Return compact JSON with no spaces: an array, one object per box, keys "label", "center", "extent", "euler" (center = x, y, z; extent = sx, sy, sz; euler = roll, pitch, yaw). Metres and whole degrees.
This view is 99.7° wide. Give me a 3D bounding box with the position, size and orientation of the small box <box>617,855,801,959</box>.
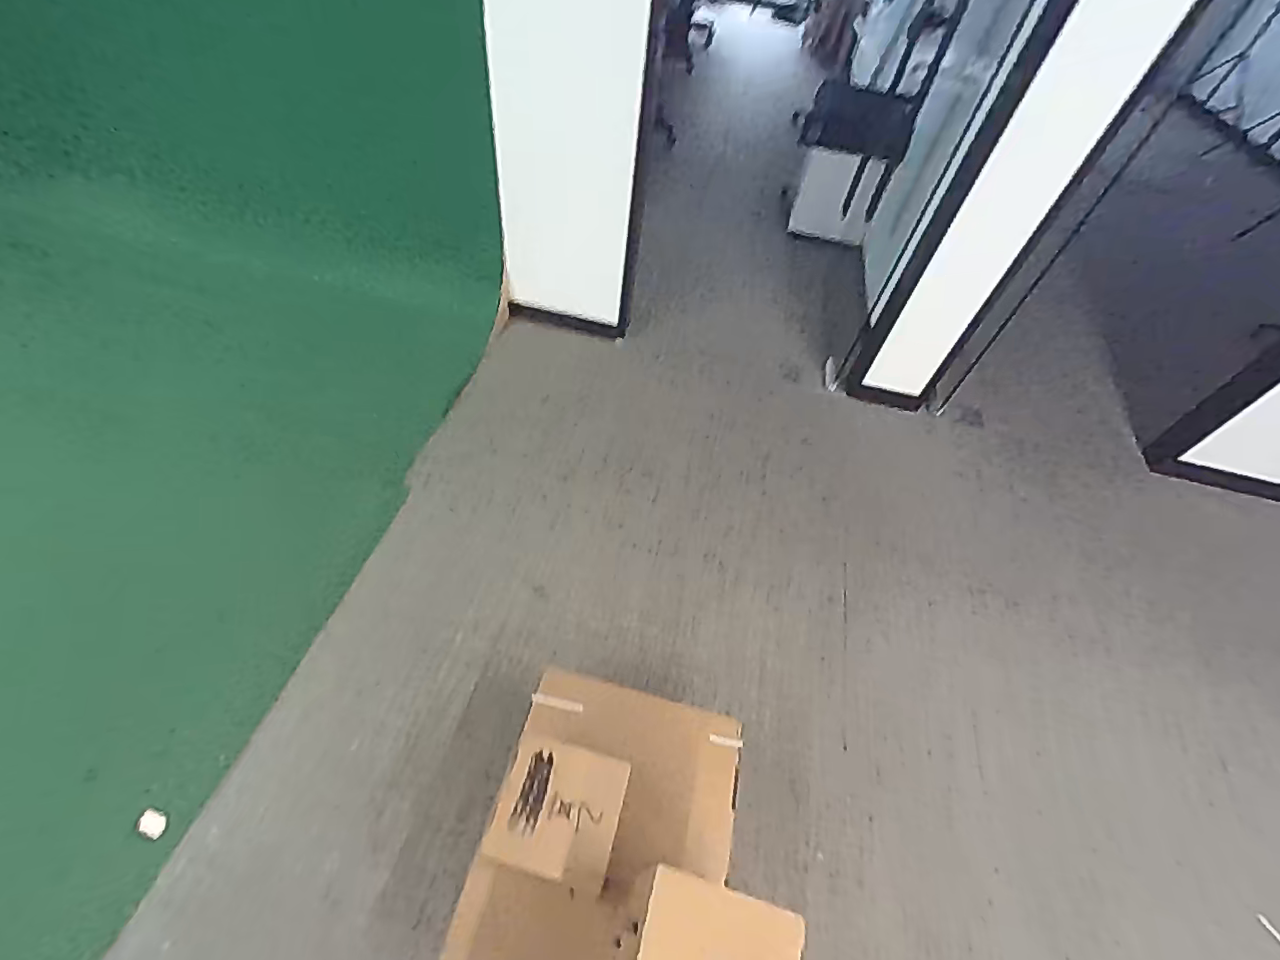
[{"label":"small box","center":[0.066,0.565,0.623],"extent":[0.179,0.176,0.168],"euler":[17,50,3]}]
